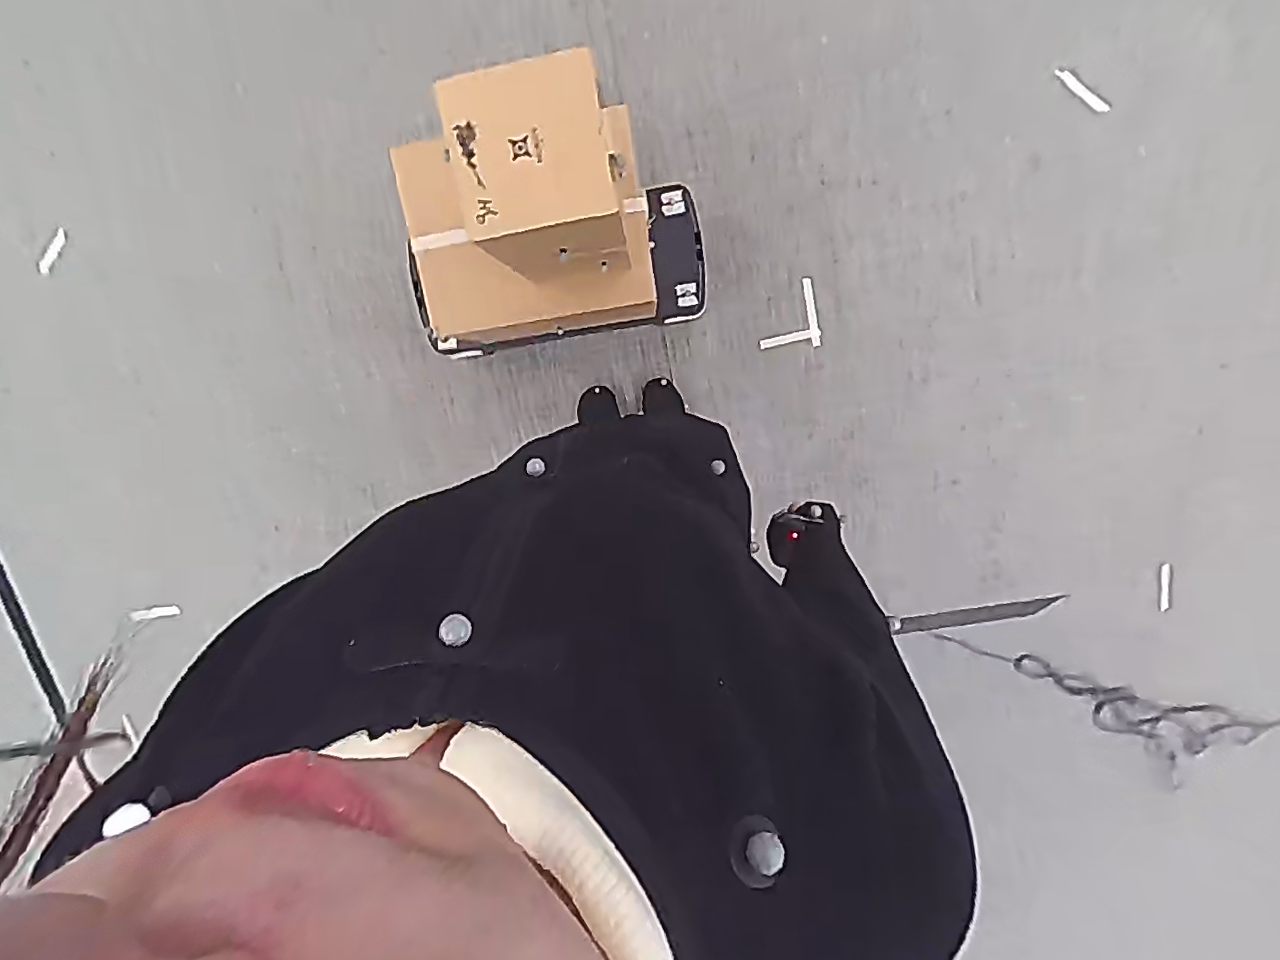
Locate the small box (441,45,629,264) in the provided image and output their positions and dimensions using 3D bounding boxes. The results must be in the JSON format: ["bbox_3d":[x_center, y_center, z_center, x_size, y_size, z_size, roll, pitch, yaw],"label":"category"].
[{"bbox_3d":[-0.111,-0.375,0.655,0.179,0.176,0.168,-10,101,3],"label":"small box"}]

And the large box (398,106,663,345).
[{"bbox_3d":[-0.177,-0.455,1.057,0.408,0.320,0.320,-9,101,4],"label":"large box"}]

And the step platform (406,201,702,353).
[{"bbox_3d":[-0.194,-0.473,1.297,0.684,0.204,0.286,-4,102,3],"label":"step platform"}]

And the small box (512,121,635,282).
[{"bbox_3d":[-0.103,-0.407,0.815,0.179,0.176,0.168,-8,101,4],"label":"small box"}]
